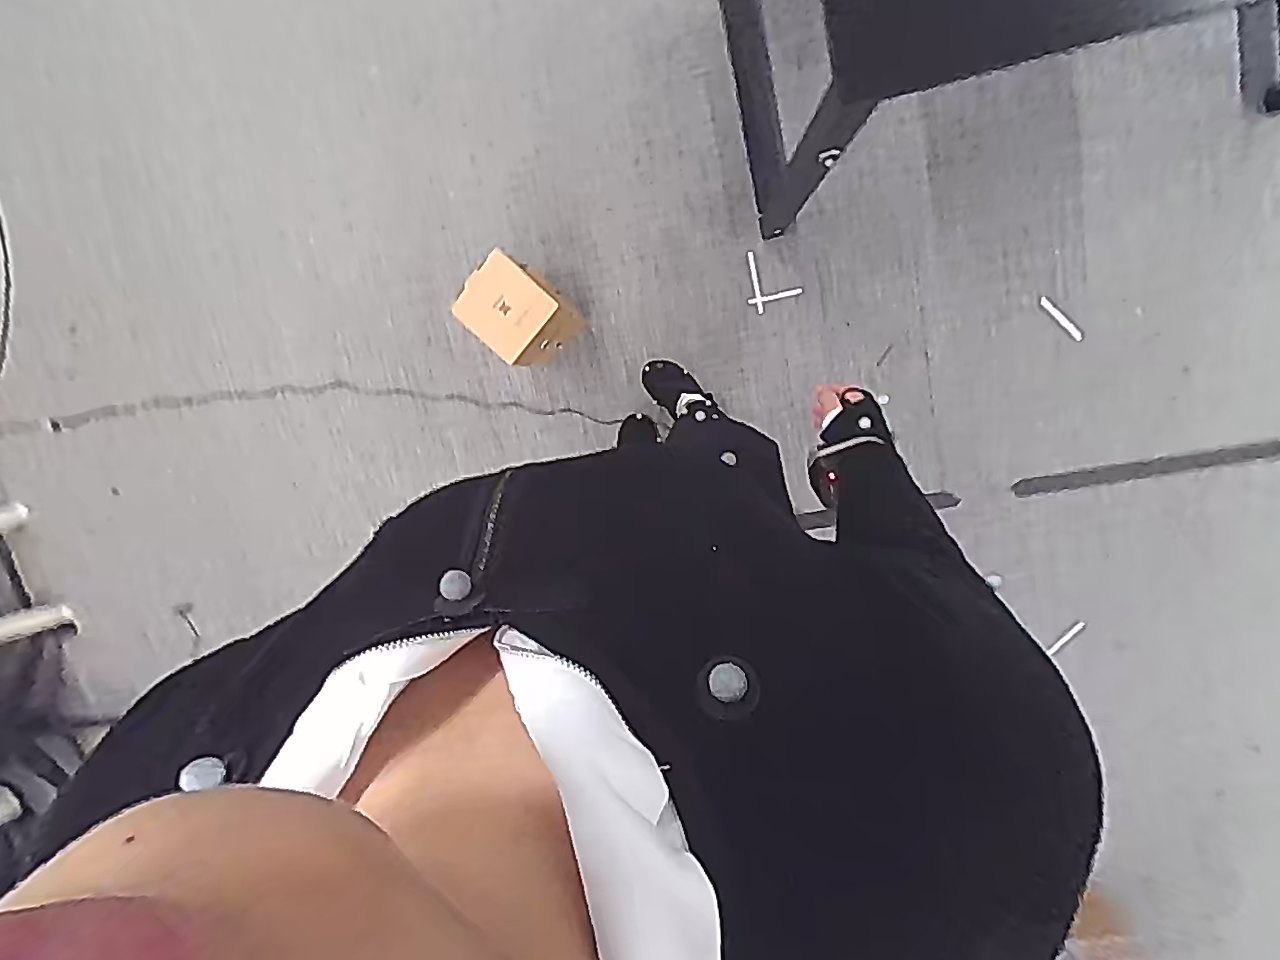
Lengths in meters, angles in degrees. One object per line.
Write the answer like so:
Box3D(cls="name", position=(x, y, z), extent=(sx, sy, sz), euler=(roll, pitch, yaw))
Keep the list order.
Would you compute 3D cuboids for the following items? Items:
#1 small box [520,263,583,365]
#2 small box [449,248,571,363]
Box3D(cls="small box", position=(-0.265, -0.409, 1.357), extent=(0.168, 0.176, 0.179), euler=(-43, 94, 10))
Box3D(cls="small box", position=(-0.278, -0.375, 1.199), extent=(0.179, 0.176, 0.168), euler=(41, 102, -5))
